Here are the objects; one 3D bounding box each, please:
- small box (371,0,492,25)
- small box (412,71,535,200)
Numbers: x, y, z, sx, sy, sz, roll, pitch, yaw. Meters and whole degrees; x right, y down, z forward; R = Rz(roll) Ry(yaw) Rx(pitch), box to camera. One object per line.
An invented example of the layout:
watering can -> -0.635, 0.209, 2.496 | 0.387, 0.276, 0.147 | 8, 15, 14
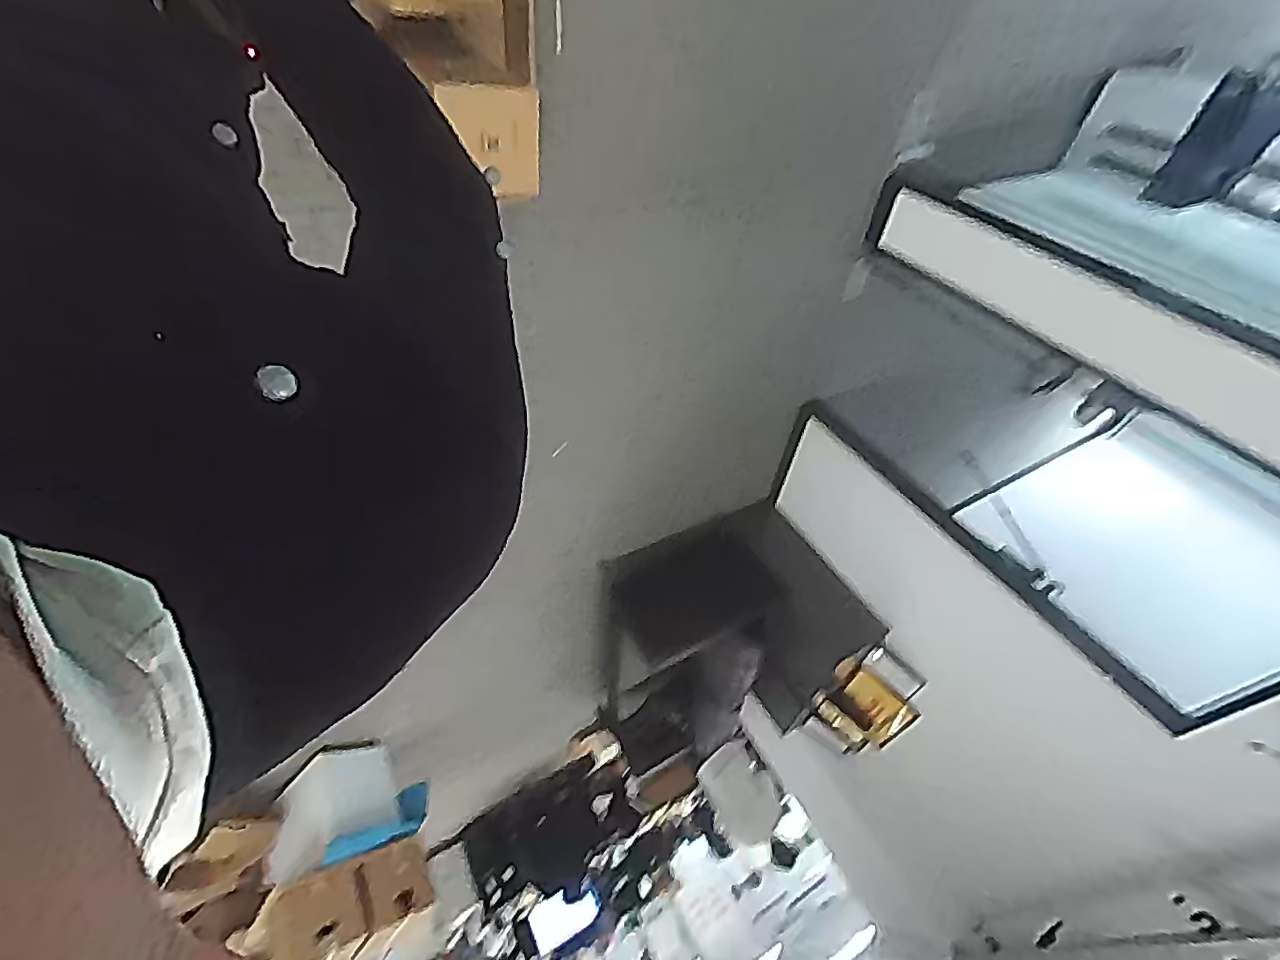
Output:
small box -> -0.364, -0.884, 0.899 | 0.179, 0.176, 0.168 | -19, 143, -24
small box -> -0.302, -0.622, 0.979 | 0.179, 0.176, 0.168 | -16, 139, -26
